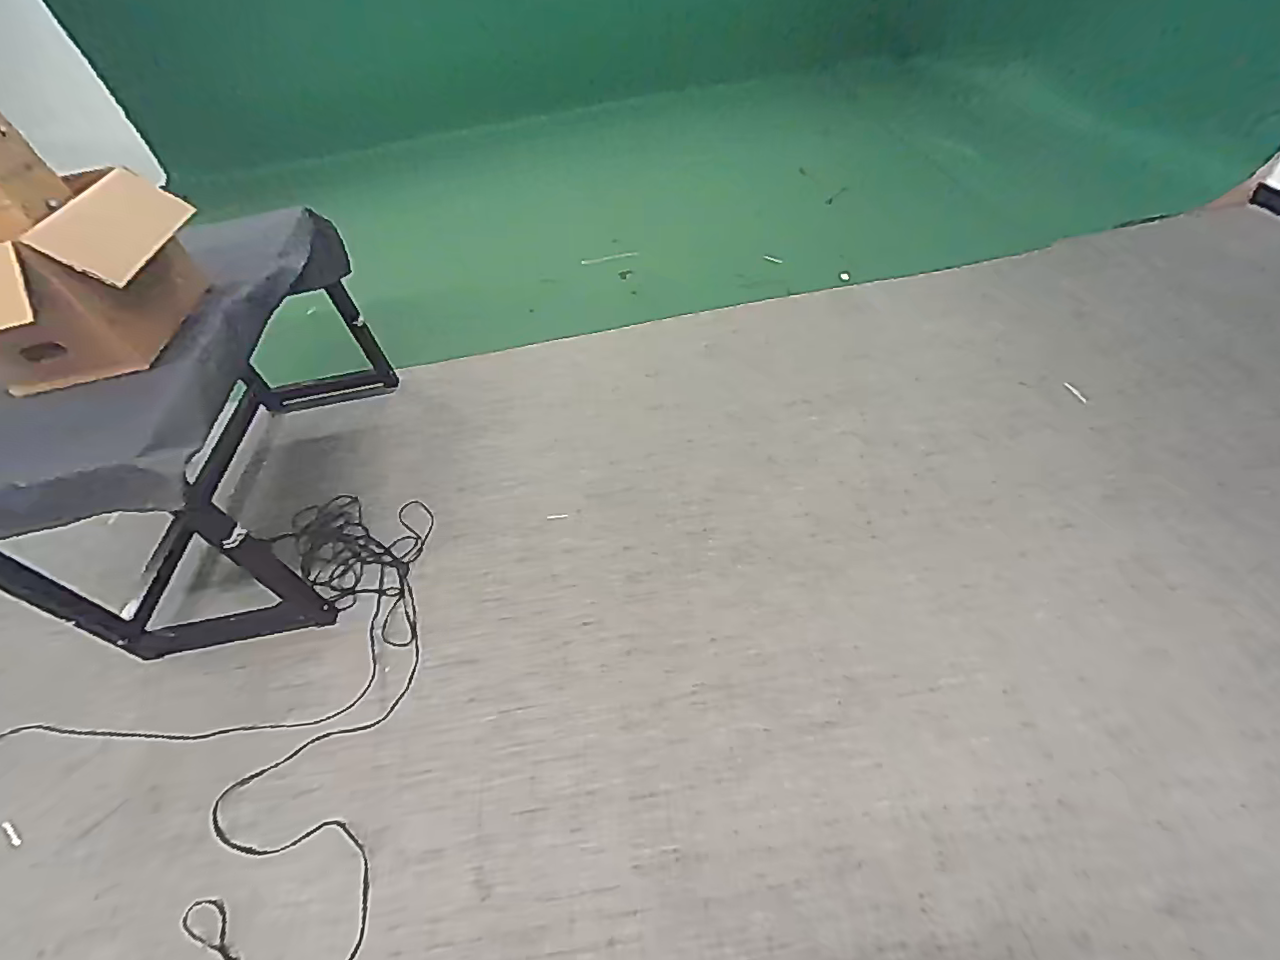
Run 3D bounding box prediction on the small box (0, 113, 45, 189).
[{"bbox_3d":[-1.347,-0.656,1.049,0.179,0.176,0.168,-14,48,-3],"label":"small box"}]
